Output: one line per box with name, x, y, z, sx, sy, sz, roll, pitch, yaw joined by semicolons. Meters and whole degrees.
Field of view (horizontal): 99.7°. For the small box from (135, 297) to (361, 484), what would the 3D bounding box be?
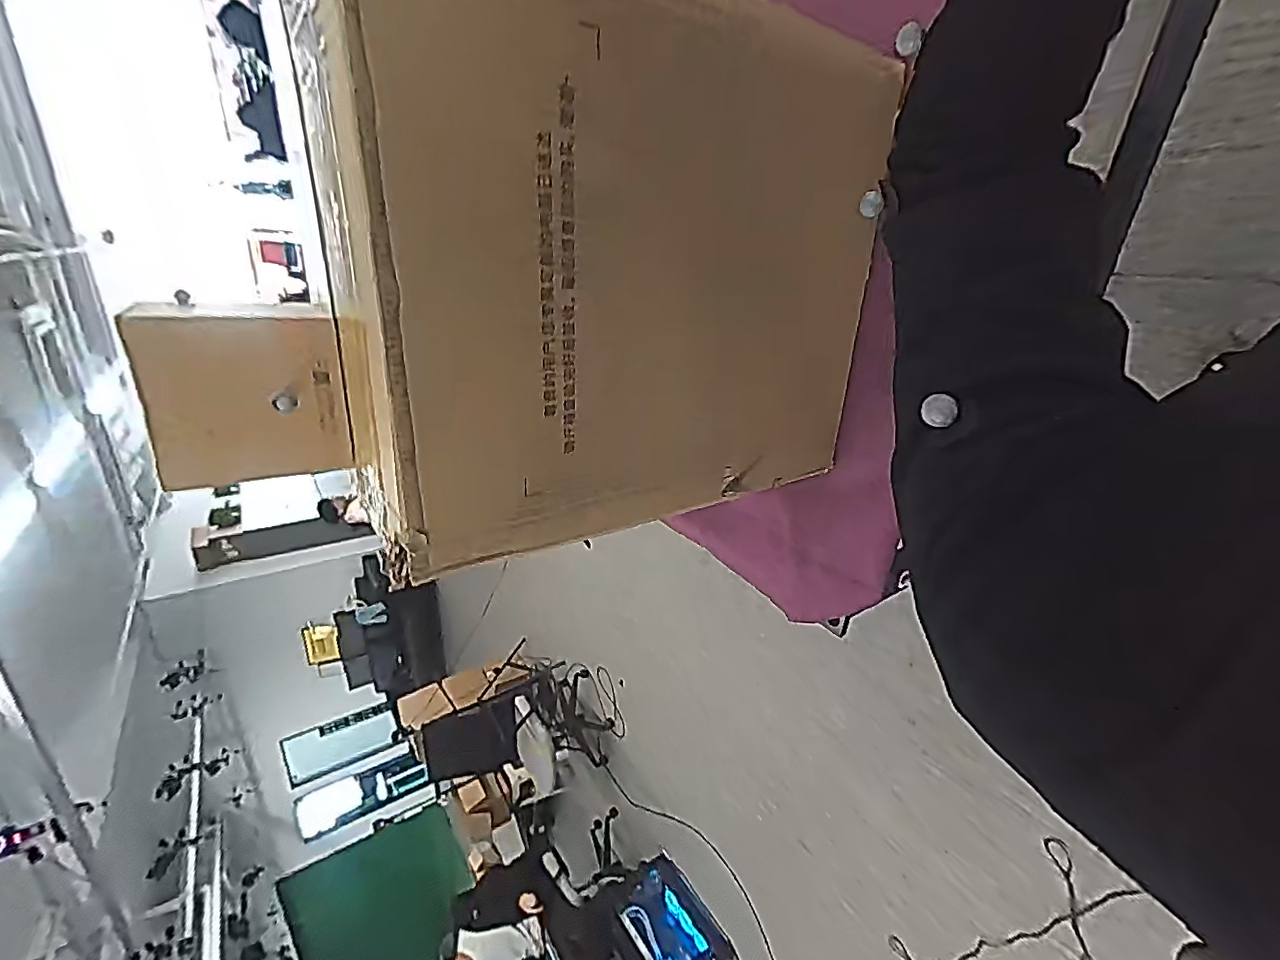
small box;-0.422;-0.110;0.605;0.179;0.176;0.168;30;124;49
